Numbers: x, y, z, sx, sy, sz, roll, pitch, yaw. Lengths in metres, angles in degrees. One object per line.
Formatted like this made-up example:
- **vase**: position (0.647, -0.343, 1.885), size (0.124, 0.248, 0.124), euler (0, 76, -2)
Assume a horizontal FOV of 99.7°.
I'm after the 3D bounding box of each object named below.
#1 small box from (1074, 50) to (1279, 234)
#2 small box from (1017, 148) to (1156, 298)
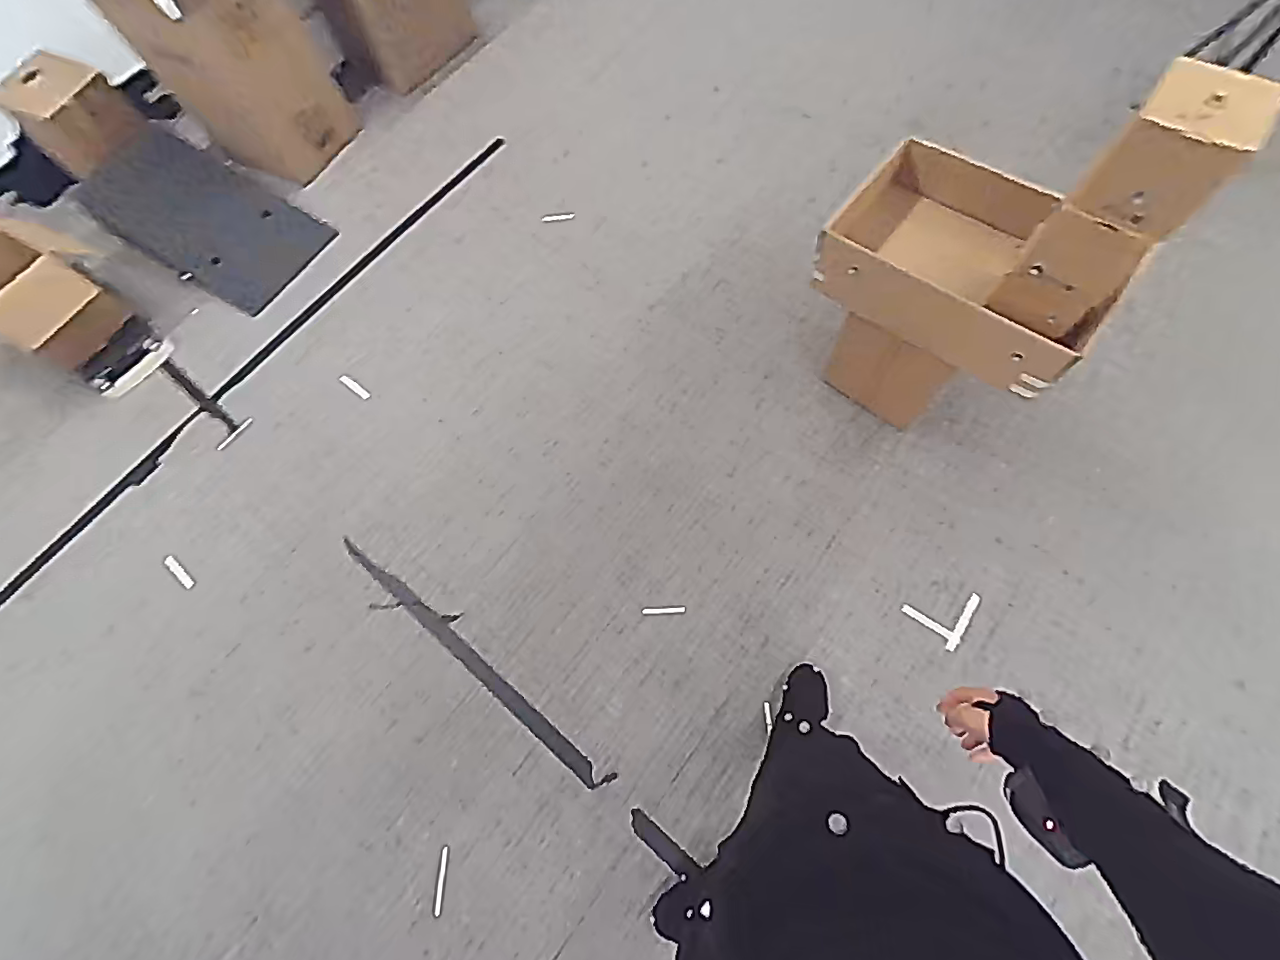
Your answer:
- **small box**: position (0.887, -0.559, 0.907), size (0.168, 0.176, 0.179), euler (33, 76, 16)
- **small box**: position (0.887, -0.495, 1.059), size (0.168, 0.176, 0.179), euler (34, 75, 16)
